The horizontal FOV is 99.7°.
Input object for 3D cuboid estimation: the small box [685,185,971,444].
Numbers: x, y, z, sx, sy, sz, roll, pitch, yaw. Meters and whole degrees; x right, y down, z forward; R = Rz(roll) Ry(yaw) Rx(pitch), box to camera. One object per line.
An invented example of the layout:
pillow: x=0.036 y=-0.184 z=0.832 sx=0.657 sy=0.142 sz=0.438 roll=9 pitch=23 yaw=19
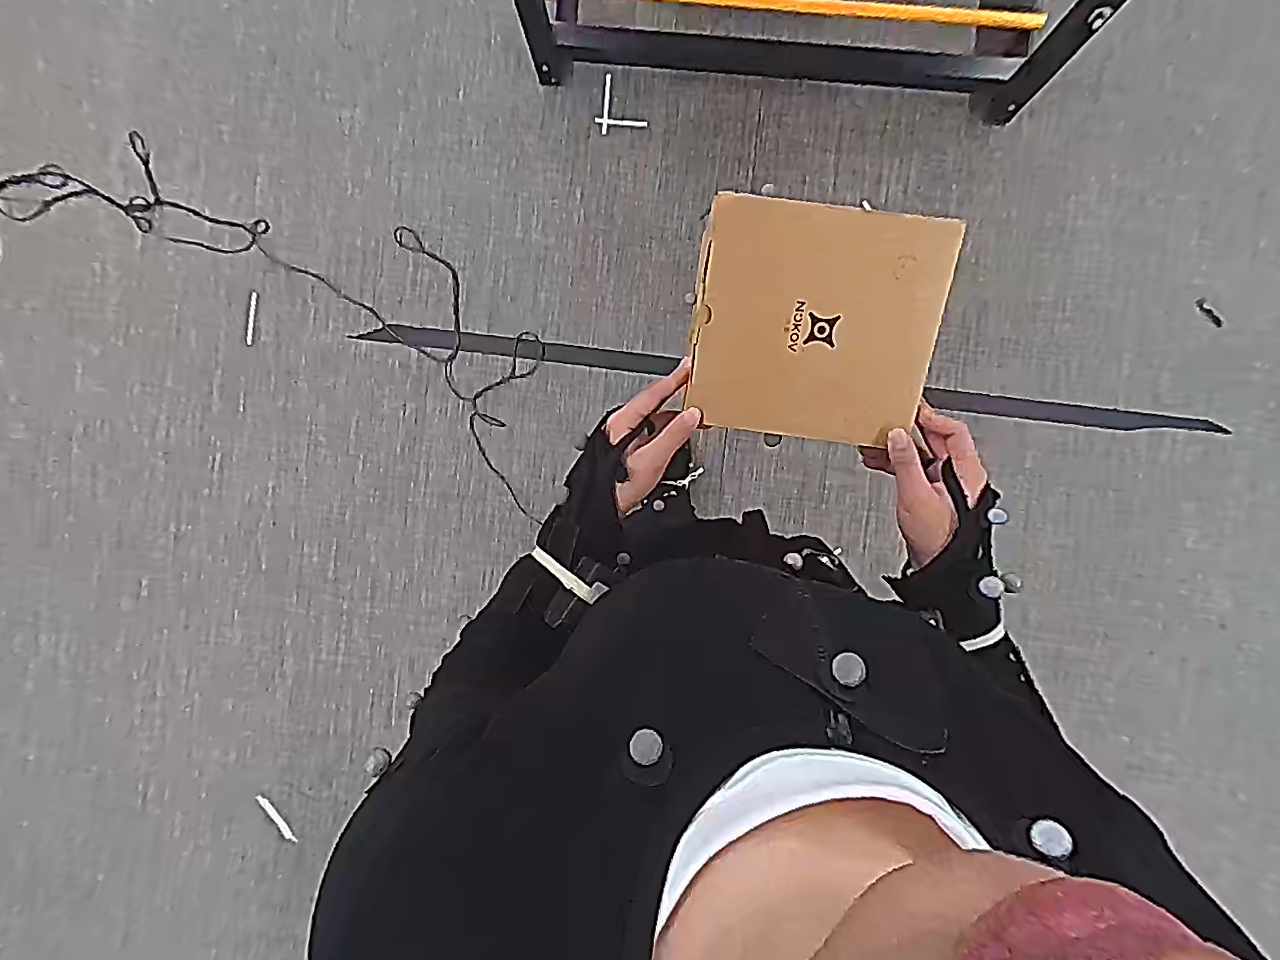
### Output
small box: x=0.136 y=-0.138 z=0.468 sx=0.179 sy=0.176 sz=0.168 roll=8 pitch=107 yaw=3
